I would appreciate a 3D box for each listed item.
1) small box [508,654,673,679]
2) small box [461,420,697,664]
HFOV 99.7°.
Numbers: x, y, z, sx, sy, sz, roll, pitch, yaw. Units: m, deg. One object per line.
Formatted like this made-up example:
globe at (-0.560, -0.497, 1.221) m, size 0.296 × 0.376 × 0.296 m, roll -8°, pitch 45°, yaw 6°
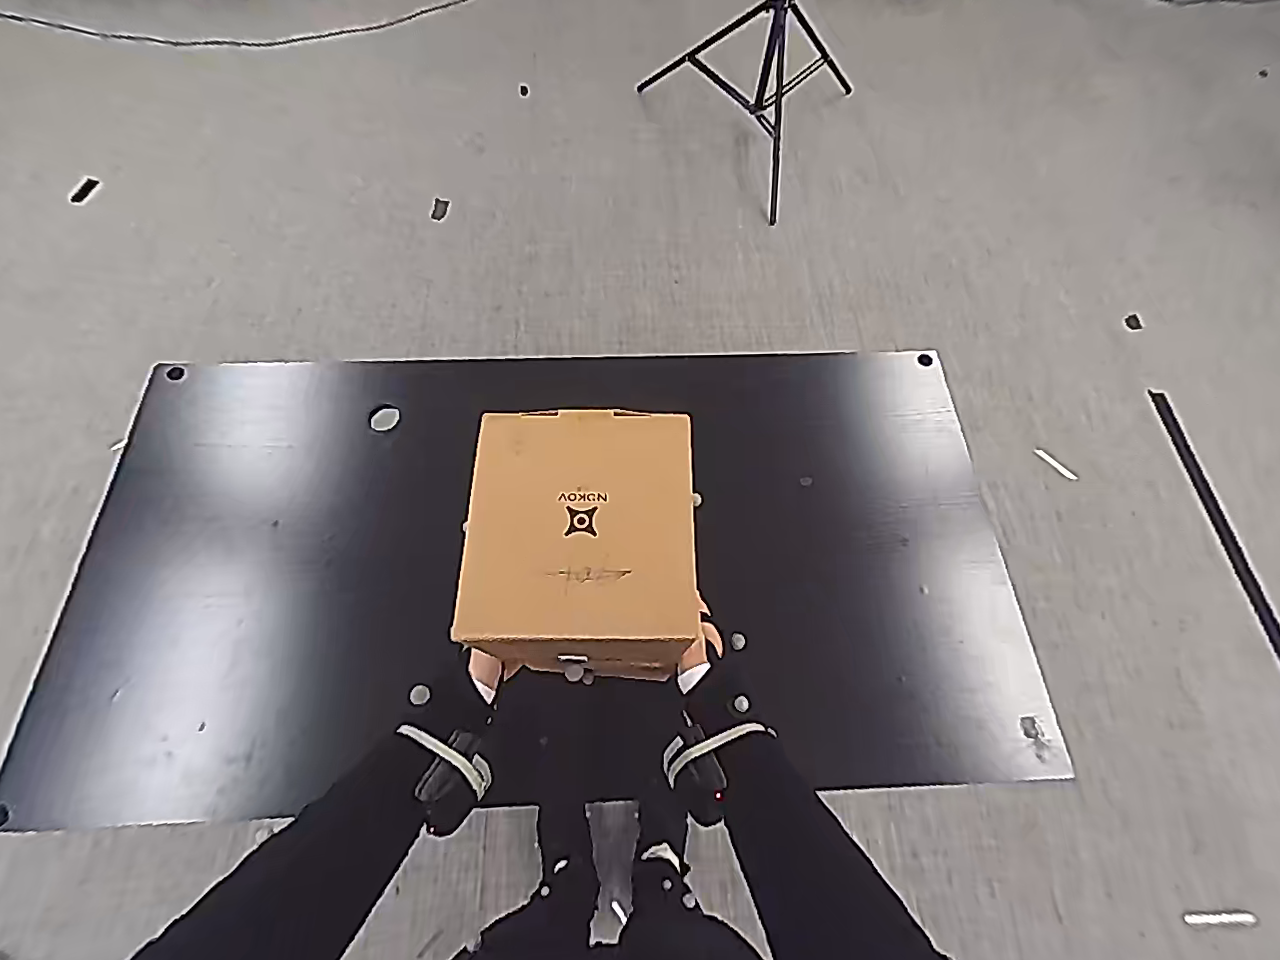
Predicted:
small box at (-0.042, 0.129, 0.625) m, size 0.168 × 0.176 × 0.179 m, roll 5°, pitch 65°, yaw 0°
small box at (-0.043, 0.063, 0.477) m, size 0.168 × 0.176 × 0.179 m, roll 0°, pitch 67°, yaw 0°
